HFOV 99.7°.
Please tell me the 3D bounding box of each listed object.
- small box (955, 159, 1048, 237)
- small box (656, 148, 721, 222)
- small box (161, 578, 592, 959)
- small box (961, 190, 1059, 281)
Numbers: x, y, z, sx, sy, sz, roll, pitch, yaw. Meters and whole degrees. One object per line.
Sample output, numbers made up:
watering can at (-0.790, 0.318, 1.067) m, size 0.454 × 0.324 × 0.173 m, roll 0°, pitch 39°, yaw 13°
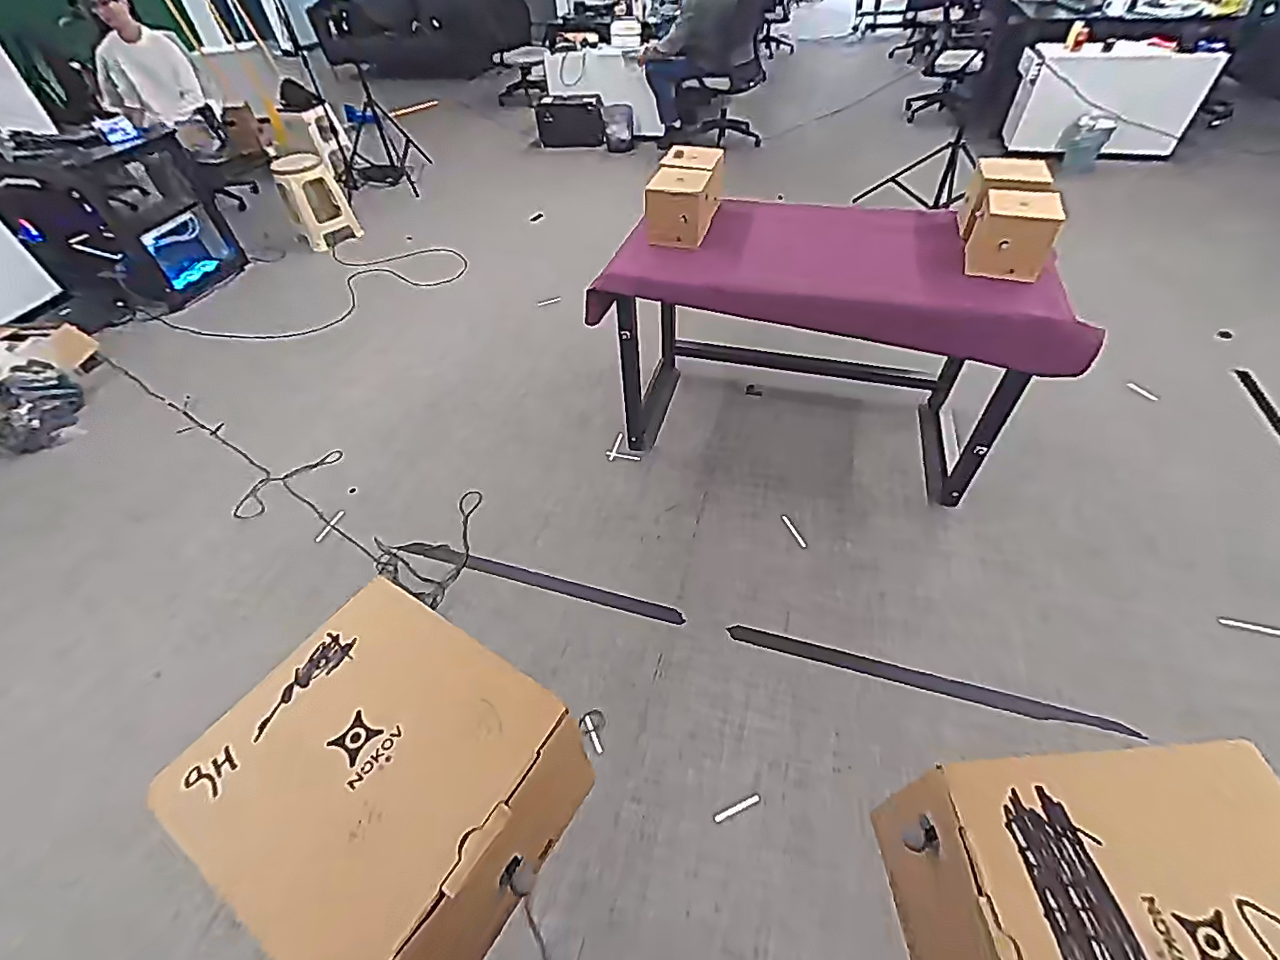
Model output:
small box at (1.047, -0.820, 1.586) m, size 0.179 × 0.176 × 0.168 m, roll 12°, pitch 51°, yaw 13°
small box at (0.159, -0.973, 1.785) m, size 0.179 × 0.176 × 0.168 m, roll 13°, pitch 52°, yaw 14°
small box at (-0.147, 0.206, 0.369) m, size 0.179 × 0.176 × 0.168 m, roll 25°, pitch 54°, yaw 21°
small box at (0.983, -0.655, 1.450) m, size 0.168 × 0.176 × 0.179 m, roll 14°, pitch 49°, yaw 17°
